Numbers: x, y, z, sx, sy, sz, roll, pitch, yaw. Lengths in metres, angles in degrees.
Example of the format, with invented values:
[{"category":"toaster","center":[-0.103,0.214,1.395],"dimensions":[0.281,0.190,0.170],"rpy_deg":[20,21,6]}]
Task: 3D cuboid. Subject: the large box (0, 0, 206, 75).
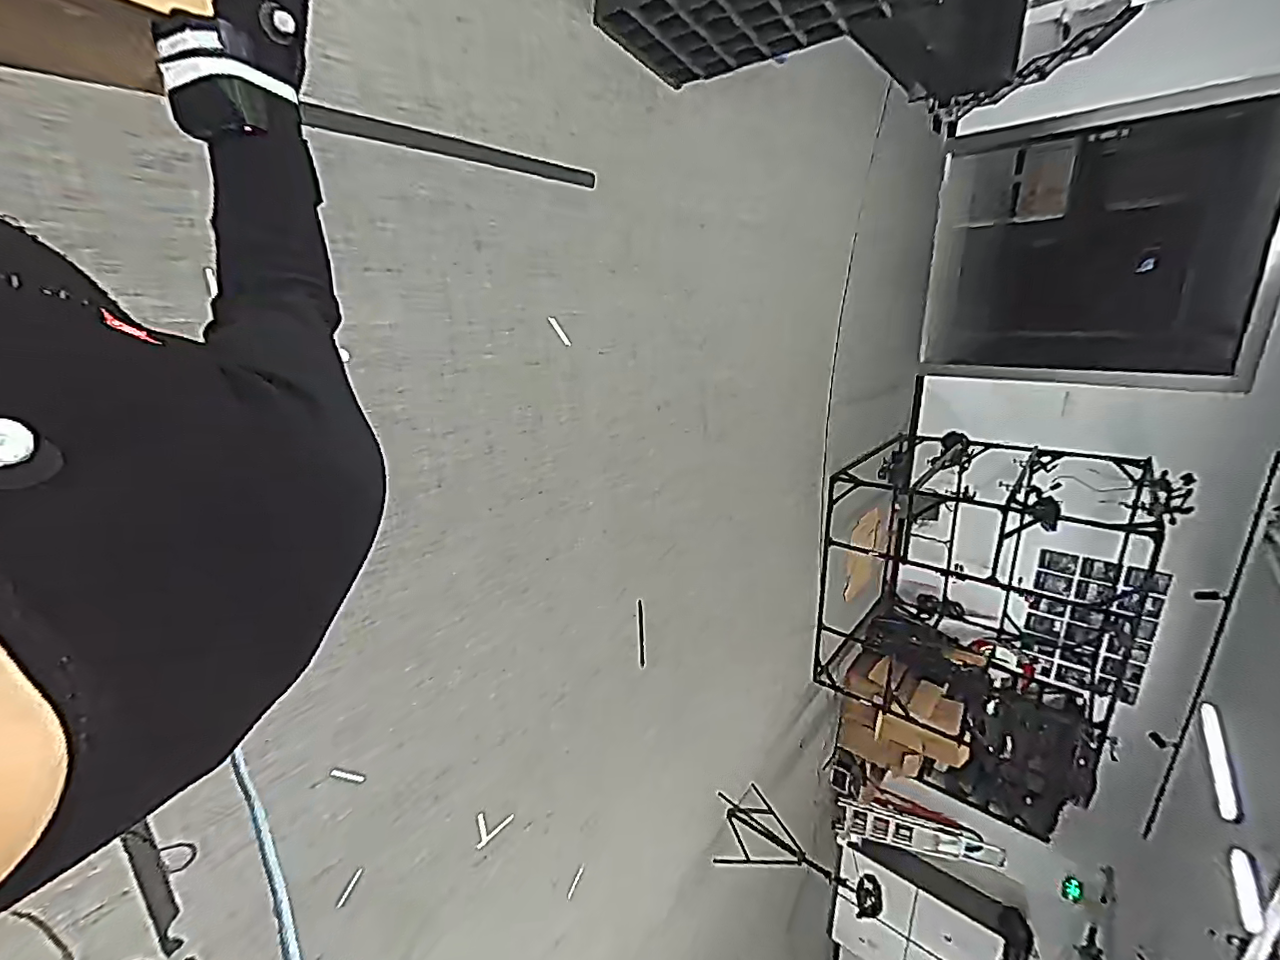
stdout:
[{"category":"large box","center":[-0.530,-0.472,0.271],"dimensions":[0.408,0.320,0.320],"rpy_deg":[-16,120,-48]}]
